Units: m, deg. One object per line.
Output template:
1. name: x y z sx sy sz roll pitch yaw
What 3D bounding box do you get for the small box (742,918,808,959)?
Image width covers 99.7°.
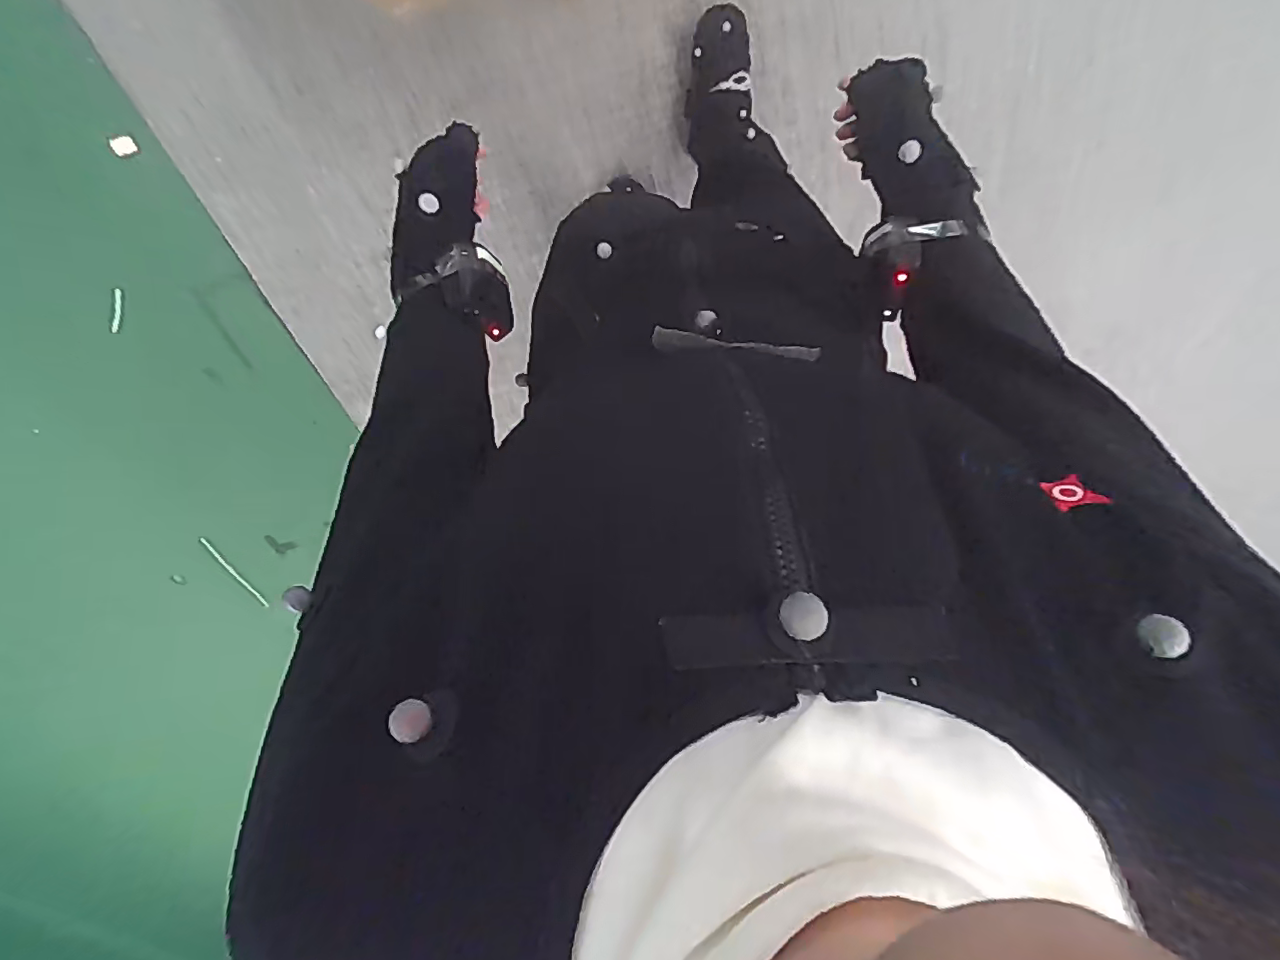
1. small box: 0.426 1.483 1.657 0.168 0.176 0.179 -19 122 9
